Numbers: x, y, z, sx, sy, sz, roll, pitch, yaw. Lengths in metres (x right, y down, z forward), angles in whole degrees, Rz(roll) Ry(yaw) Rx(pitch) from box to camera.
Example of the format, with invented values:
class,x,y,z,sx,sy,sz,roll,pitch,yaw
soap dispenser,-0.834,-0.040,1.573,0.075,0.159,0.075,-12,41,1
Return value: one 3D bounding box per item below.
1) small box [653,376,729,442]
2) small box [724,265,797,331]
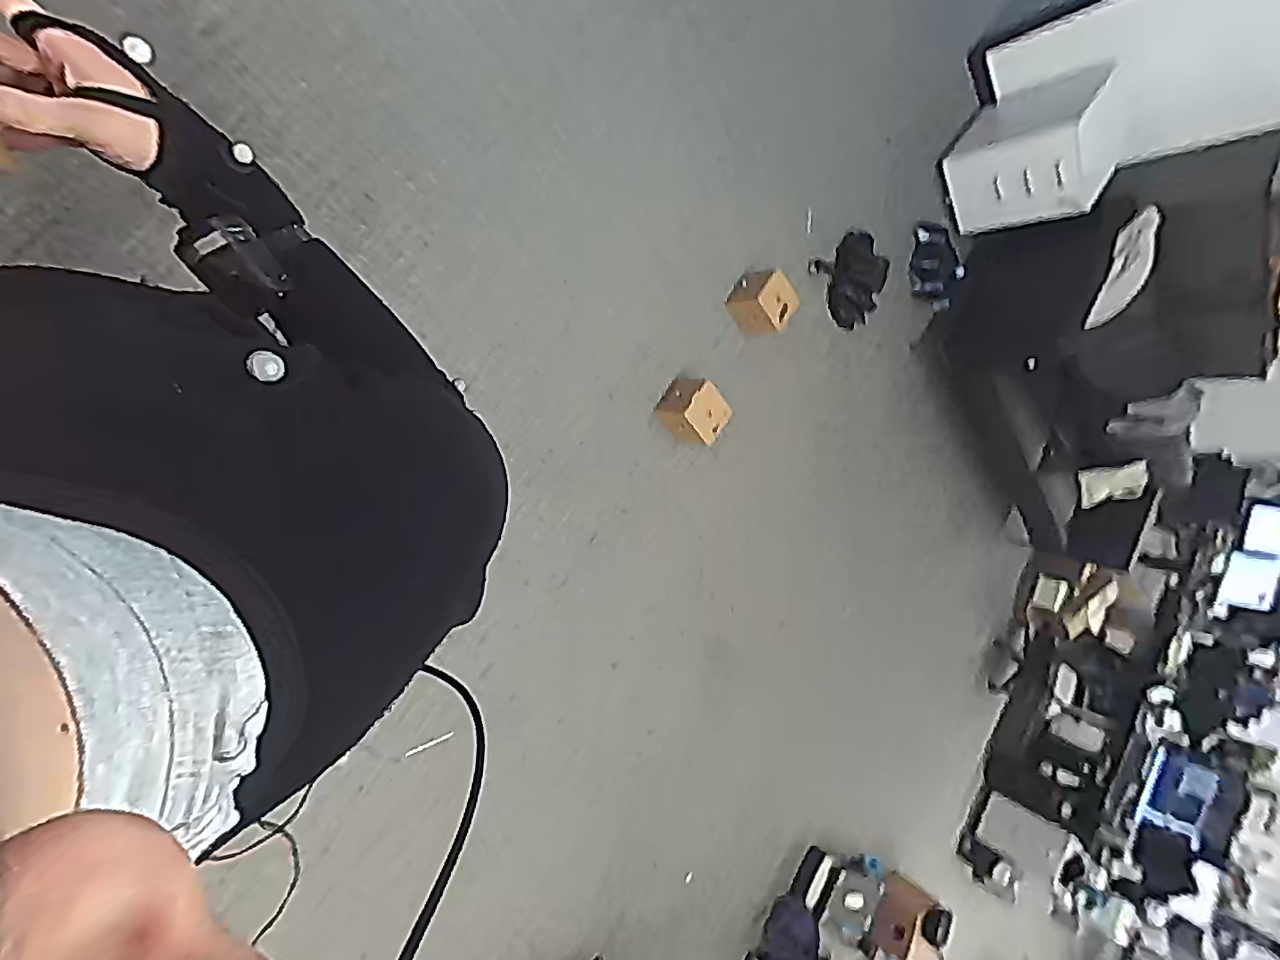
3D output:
class,x,y,z,sx,sy,sz,roll,pitch,yaw
small box,0.179,-0.255,1.946,0.179,0.176,0.168,46,72,-32
small box,0.455,-0.685,2.056,0.179,0.176,0.168,42,74,-33
